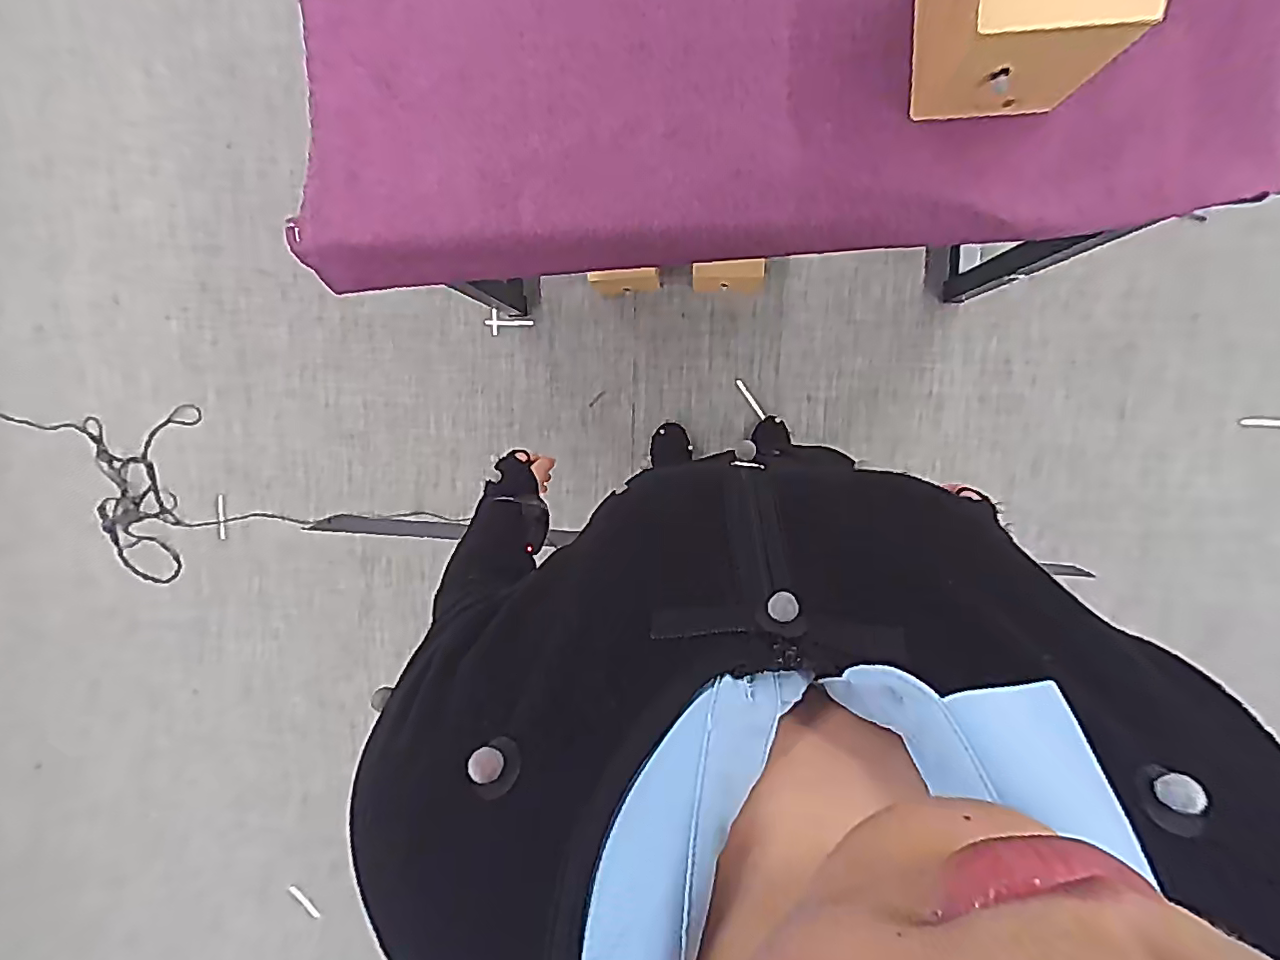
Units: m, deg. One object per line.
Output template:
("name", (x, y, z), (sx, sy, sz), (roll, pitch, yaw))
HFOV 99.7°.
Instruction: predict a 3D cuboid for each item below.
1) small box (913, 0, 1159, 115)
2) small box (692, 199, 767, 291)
("small box", (0.412, -0.524, 0.583), (0.168, 0.176, 0.179), (0, 97, 6))
("small box", (0.216, -0.571, 1.335), (0.168, 0.176, 0.179), (3, 97, 5))
